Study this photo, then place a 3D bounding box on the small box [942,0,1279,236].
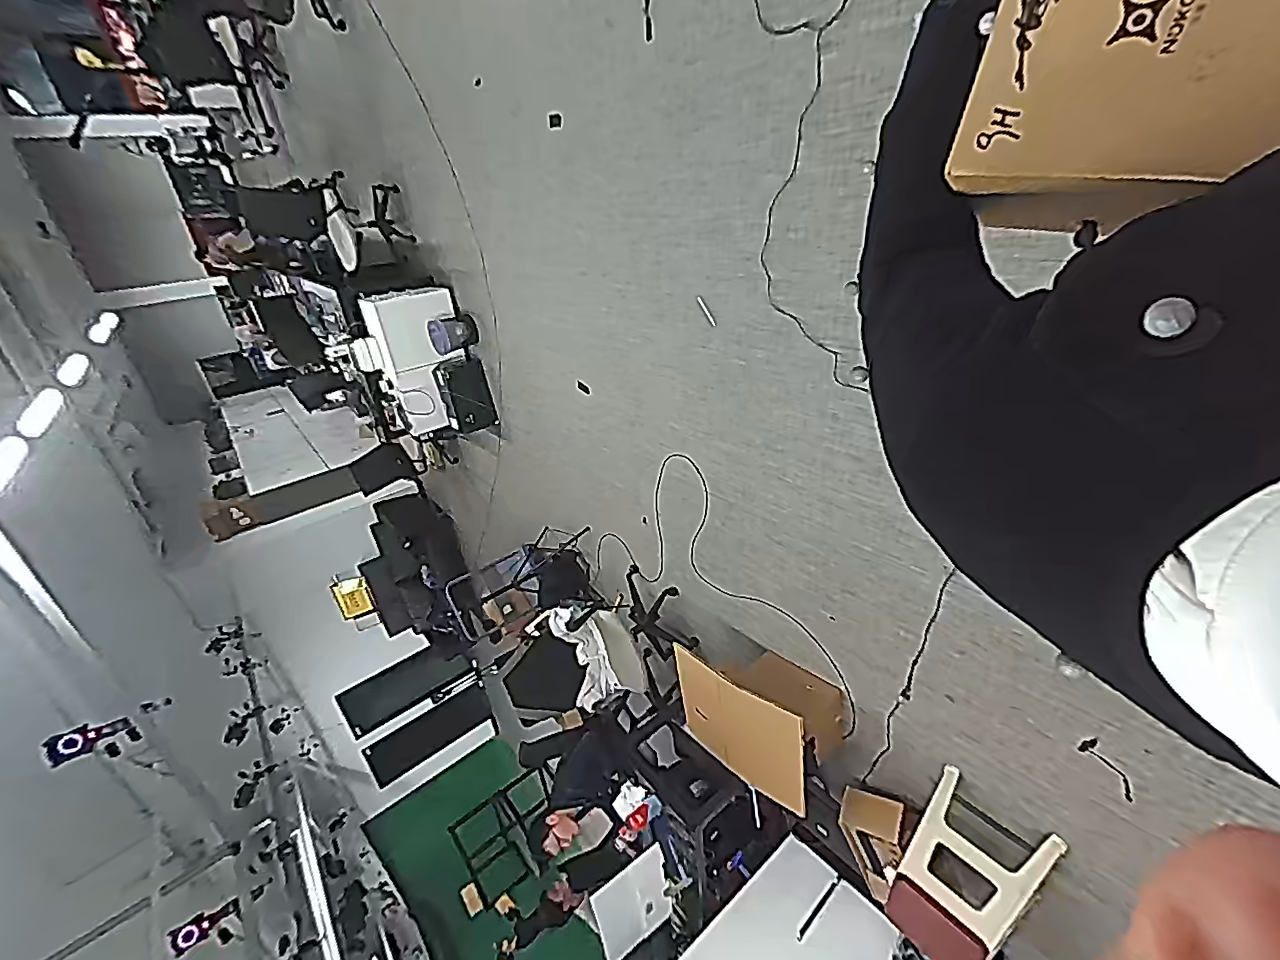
[{"bbox_3d":[0.347,-0.278,0.377,0.179,0.176,0.168,25,113,33],"label":"small box"}]
